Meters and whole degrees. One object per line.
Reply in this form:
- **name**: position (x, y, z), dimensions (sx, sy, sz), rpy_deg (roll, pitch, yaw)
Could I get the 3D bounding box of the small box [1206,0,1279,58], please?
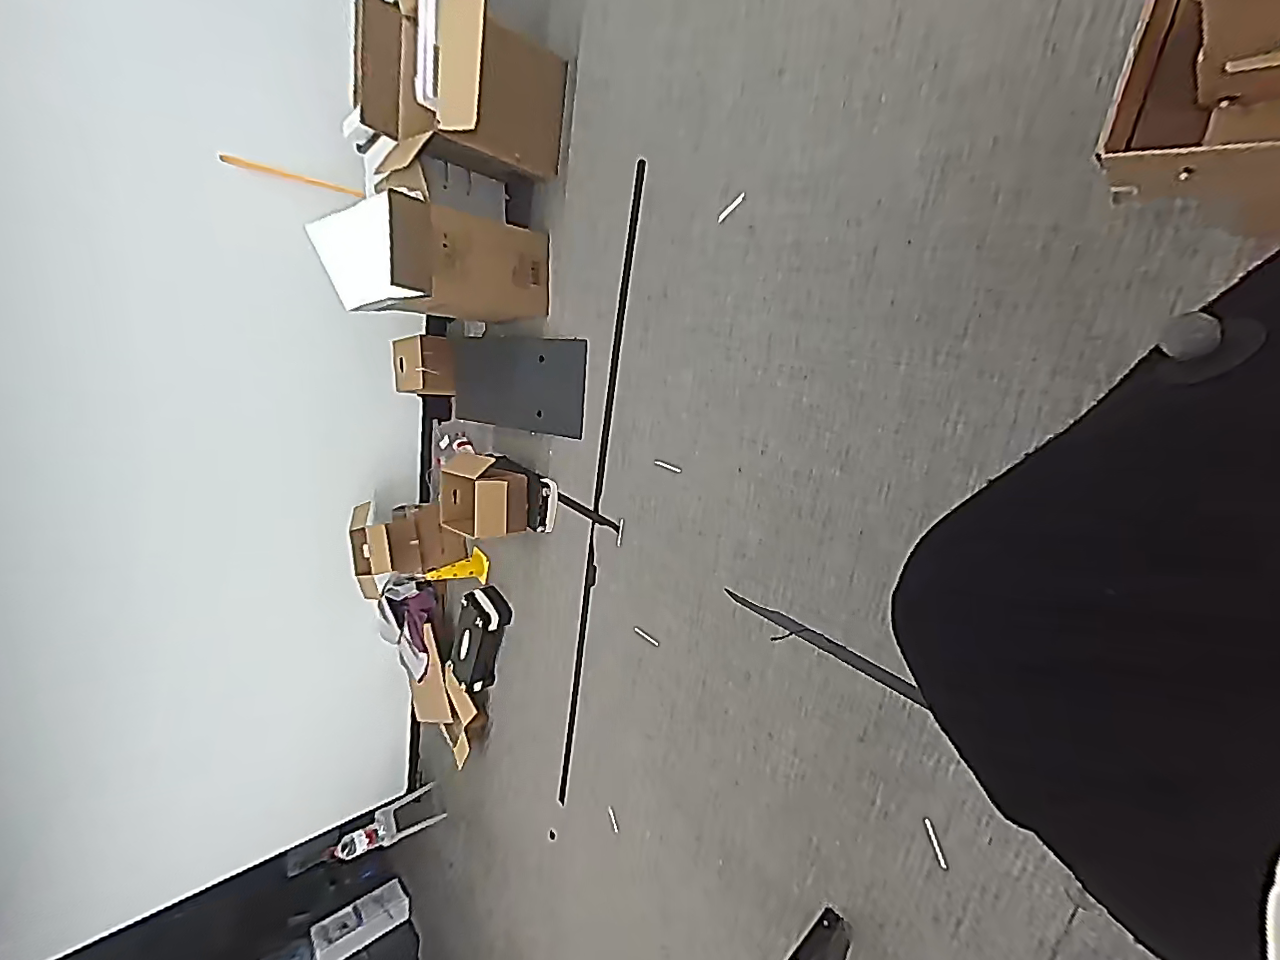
- **small box**: position (0.768, -0.622, 0.599), dimensions (0.168, 0.176, 0.179), rpy_deg (21, 110, 44)
